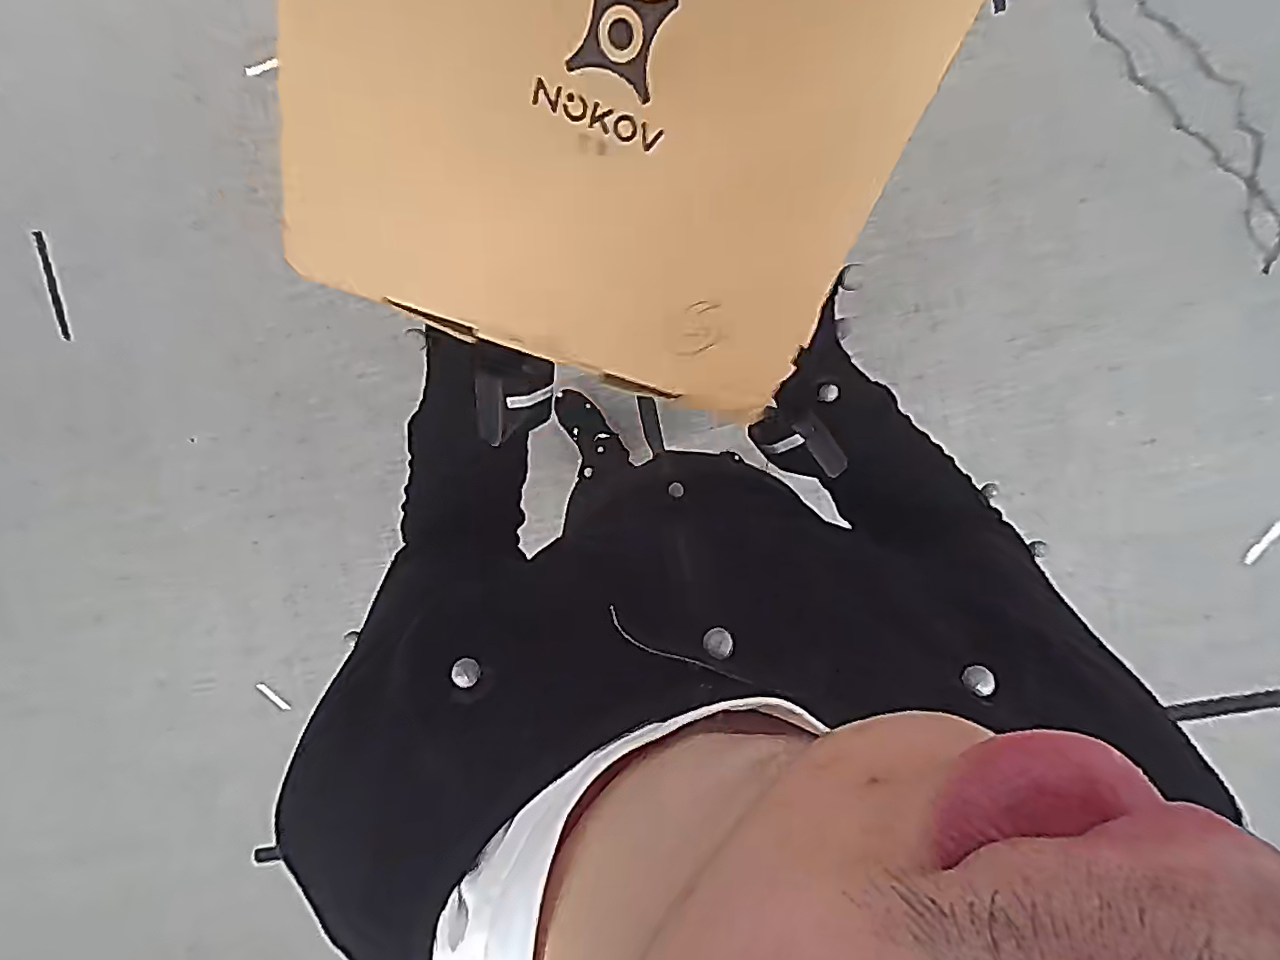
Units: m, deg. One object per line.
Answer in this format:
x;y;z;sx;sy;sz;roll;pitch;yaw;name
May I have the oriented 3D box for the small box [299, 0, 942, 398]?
-0.008;-0.163;0.218;0.168;0.176;0.179;14;122;-9;small box
